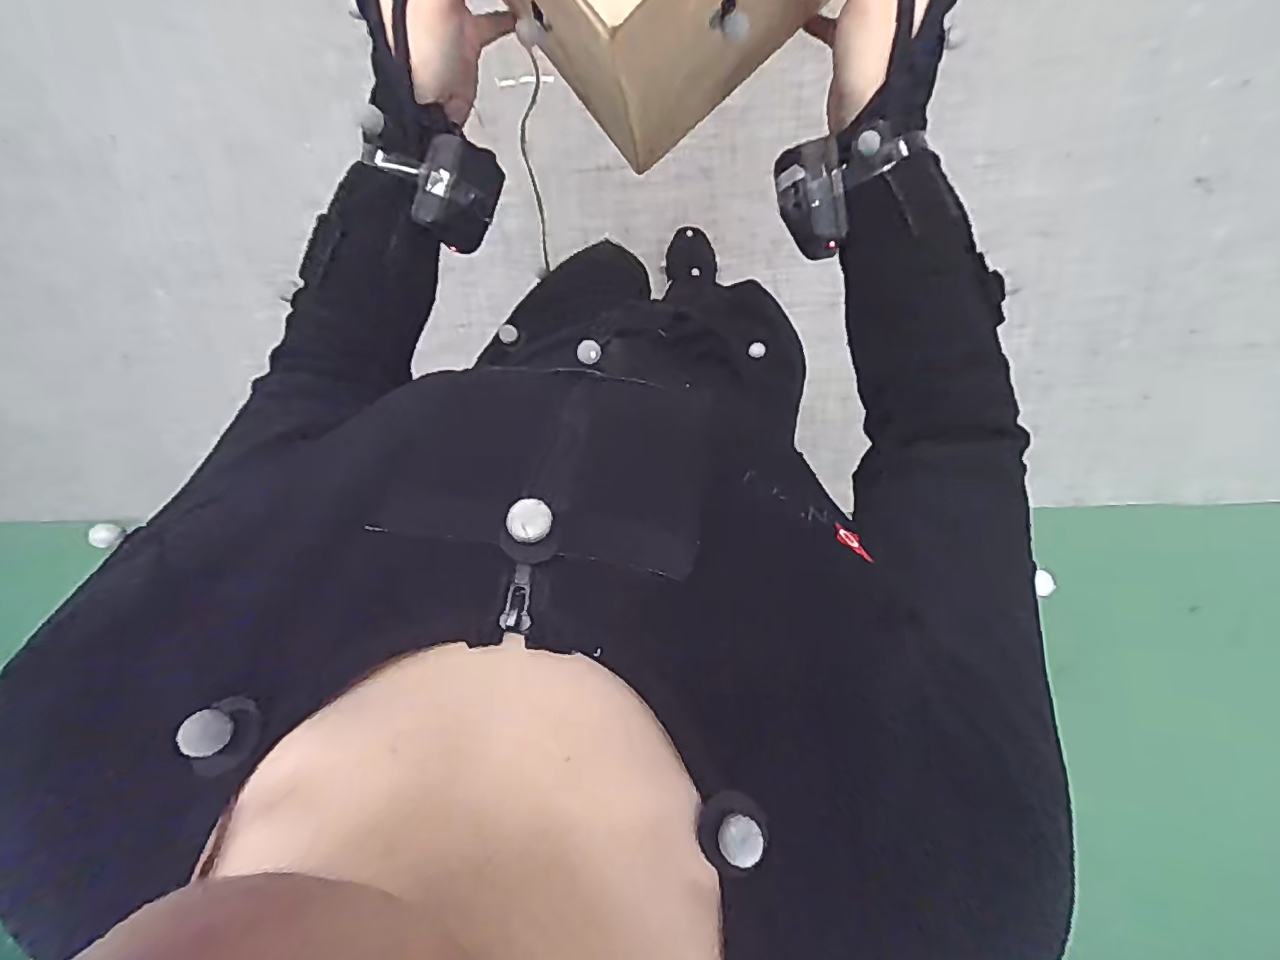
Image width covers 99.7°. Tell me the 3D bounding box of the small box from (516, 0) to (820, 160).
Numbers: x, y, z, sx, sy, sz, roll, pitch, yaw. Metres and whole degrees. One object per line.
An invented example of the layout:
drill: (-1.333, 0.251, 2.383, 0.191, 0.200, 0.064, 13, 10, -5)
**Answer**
small box: (0.009, -0.327, 0.302, 0.179, 0.176, 0.168, -39, 95, 11)
